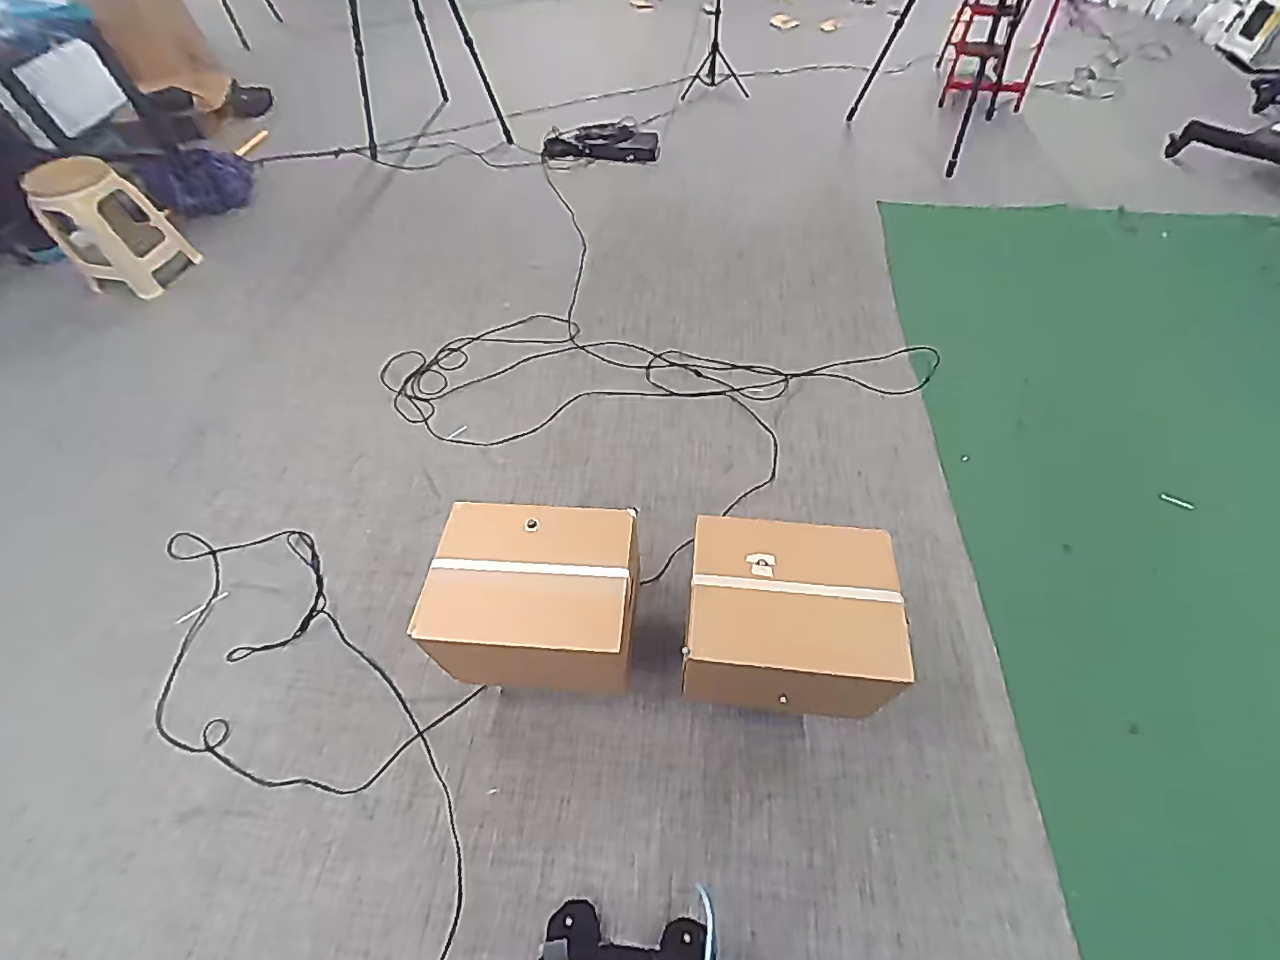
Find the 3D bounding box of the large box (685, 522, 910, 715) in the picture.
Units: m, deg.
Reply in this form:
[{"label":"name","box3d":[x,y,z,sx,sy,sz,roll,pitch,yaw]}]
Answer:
[{"label":"large box","box3d":[0.313,0.312,1.194,0.408,0.320,0.320,5,55,6]}]
